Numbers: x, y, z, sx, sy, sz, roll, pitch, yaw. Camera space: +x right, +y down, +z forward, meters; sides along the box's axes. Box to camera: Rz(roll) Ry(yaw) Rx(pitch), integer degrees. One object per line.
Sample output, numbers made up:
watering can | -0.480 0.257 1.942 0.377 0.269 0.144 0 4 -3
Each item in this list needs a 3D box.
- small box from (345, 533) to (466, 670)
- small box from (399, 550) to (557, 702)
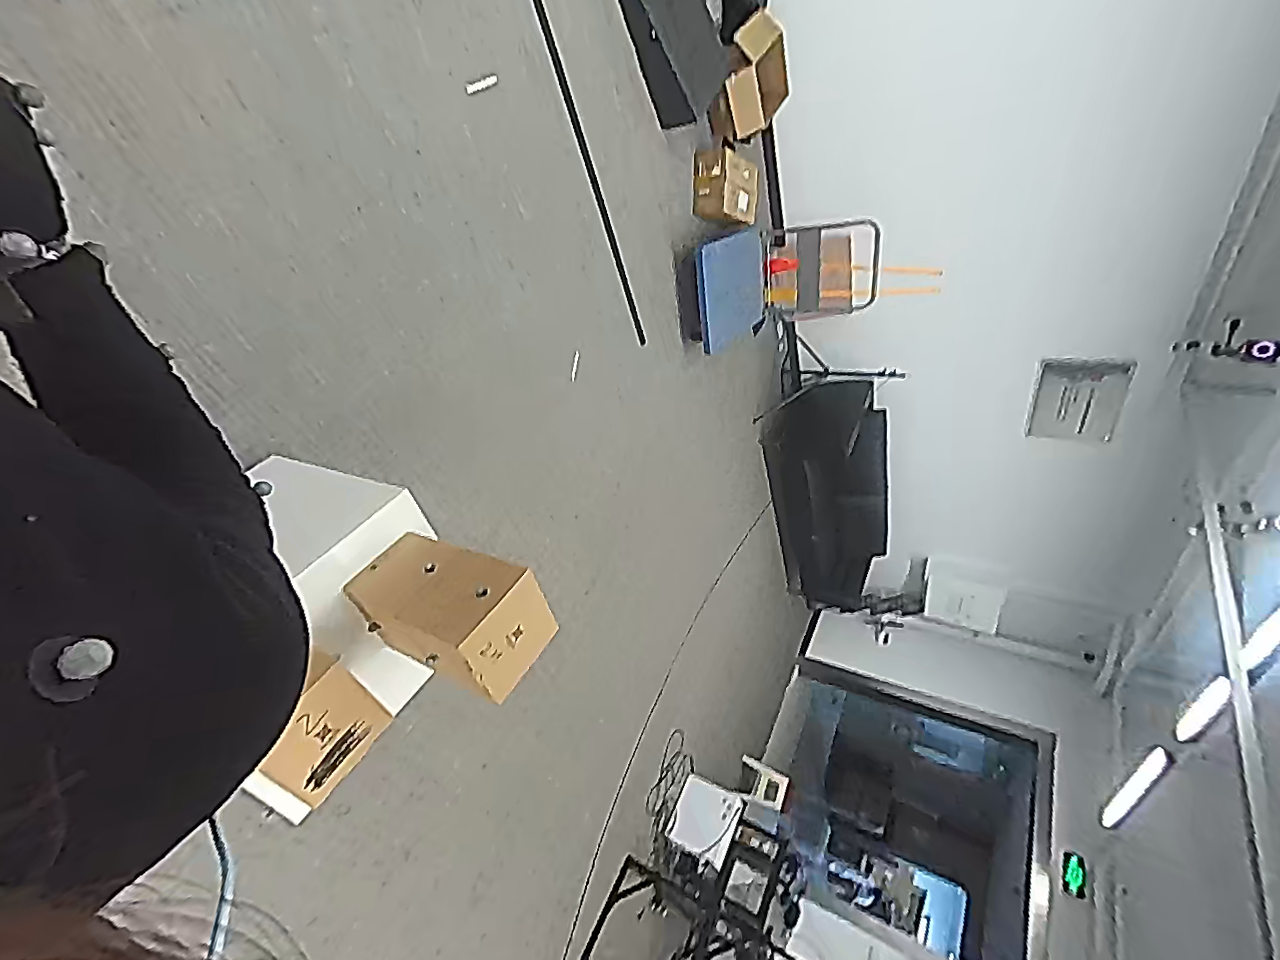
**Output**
small box | -0.420 0.227 1.045 0.168 0.176 0.179 -50 139 -39
small box | -0.283 0.248 0.957 0.179 0.176 0.168 -50 137 -38
